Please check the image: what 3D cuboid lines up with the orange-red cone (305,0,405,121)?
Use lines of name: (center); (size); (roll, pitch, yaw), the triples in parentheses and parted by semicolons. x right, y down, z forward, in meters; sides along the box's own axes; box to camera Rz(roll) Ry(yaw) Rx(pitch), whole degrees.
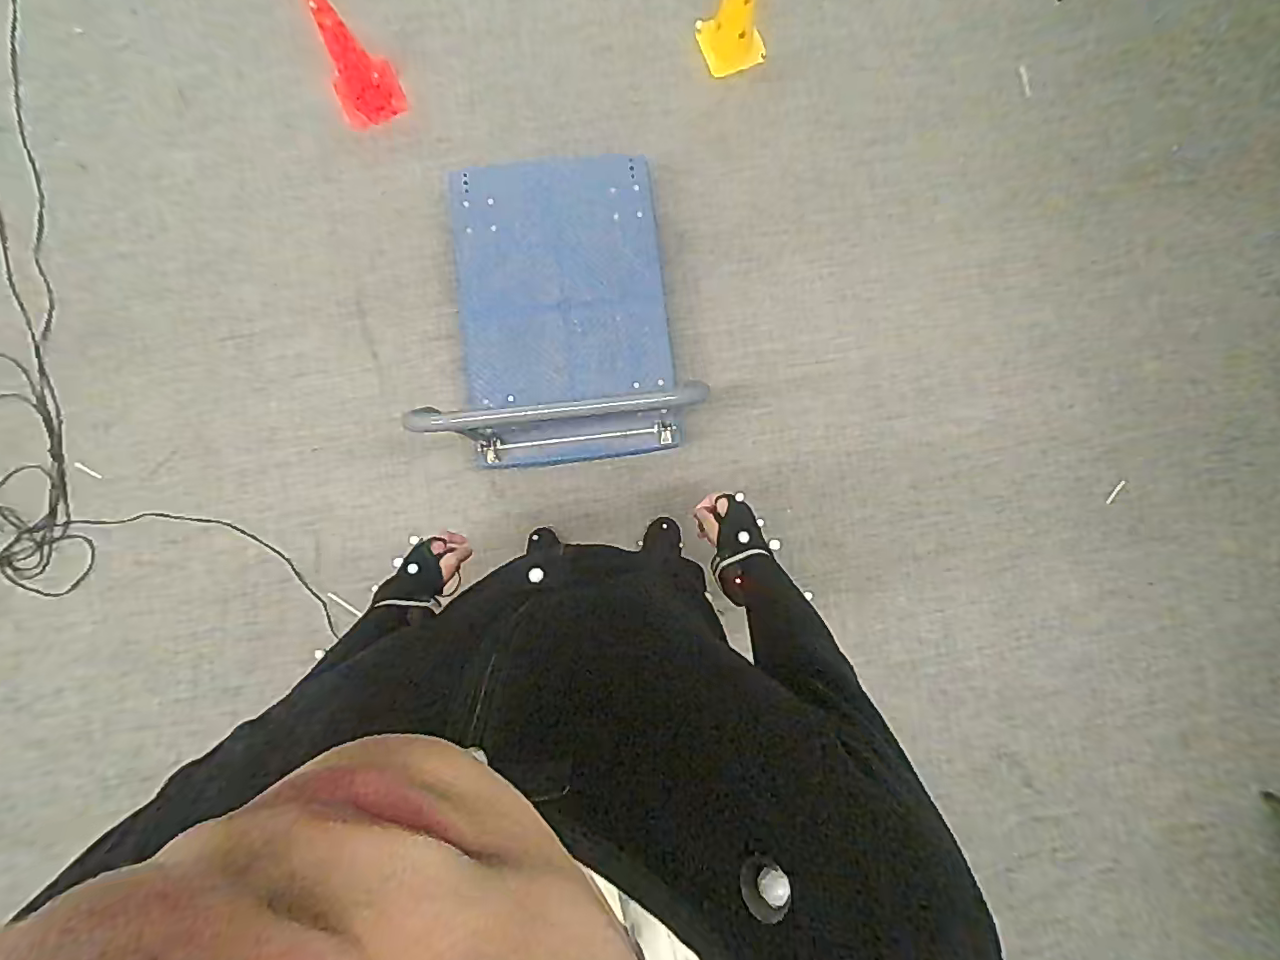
orange-red cone: (-0.862, -1.265, 1.549); (0.199, 0.360, 0.198); (-24, 86, -2)
